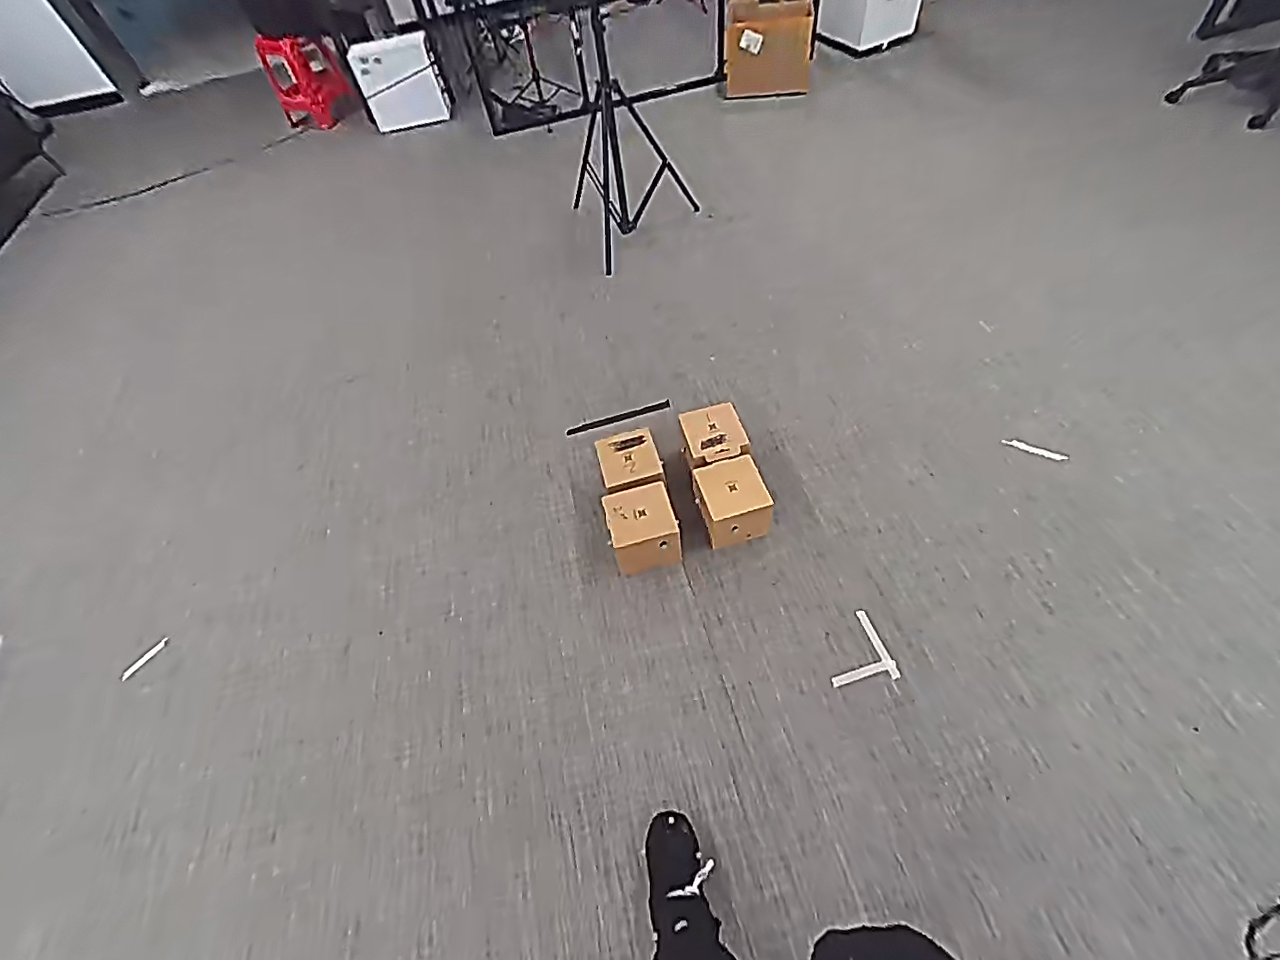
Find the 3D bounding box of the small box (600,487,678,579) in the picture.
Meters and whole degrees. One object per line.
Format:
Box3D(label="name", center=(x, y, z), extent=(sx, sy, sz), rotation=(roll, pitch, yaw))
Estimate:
Box3D(label="small box", center=(0.002, 0.147, 1.468), extent=(0.179, 0.176, 0.168), rotation=(-15, 54, -3))
